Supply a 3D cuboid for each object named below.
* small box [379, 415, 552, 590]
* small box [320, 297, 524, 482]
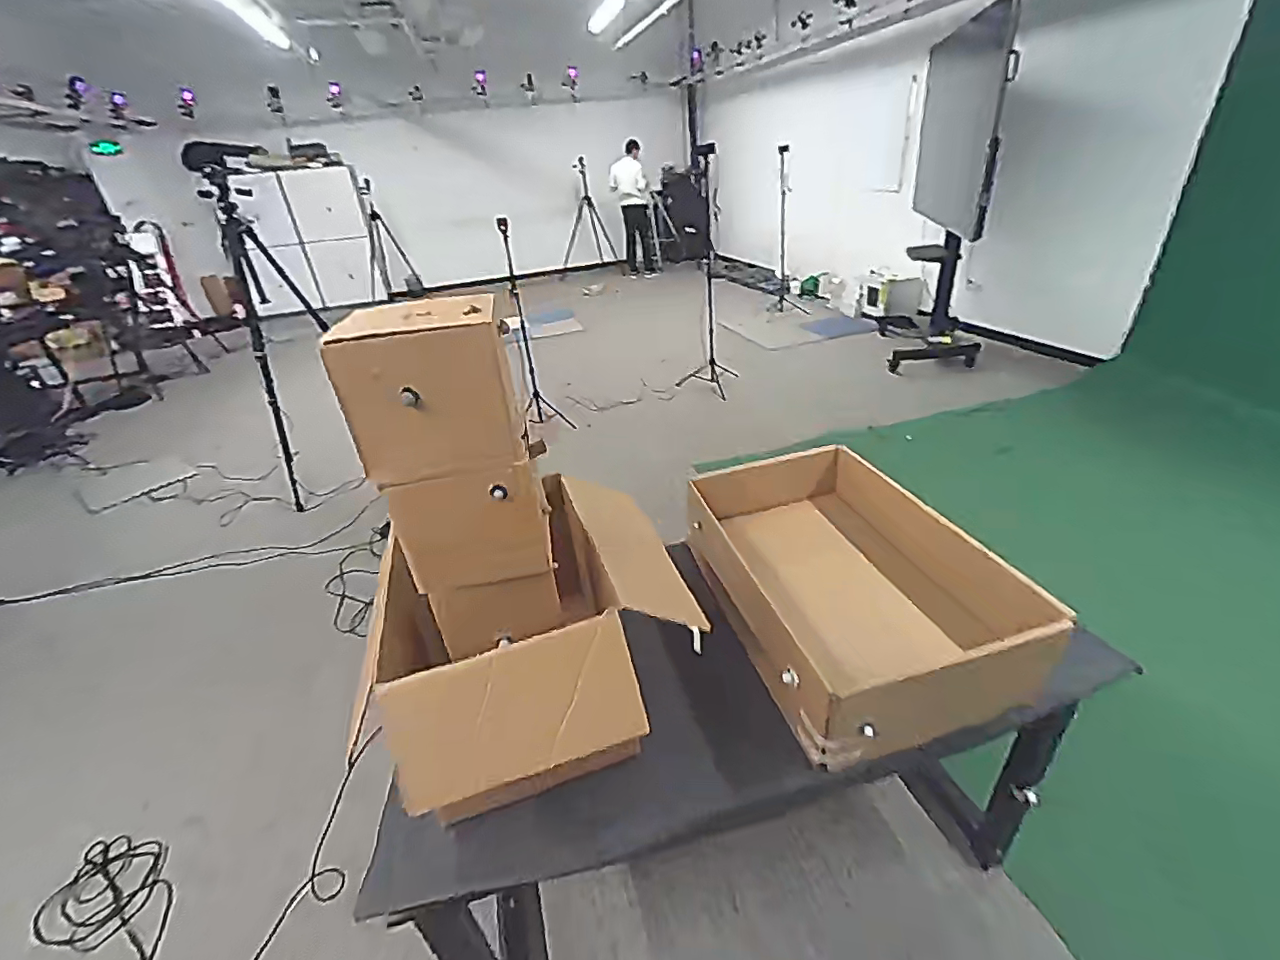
[{"bbox_3d":[-0.223,0.030,0.738,0.179,0.176,0.168,-9,31,-7],"label":"small box"},{"bbox_3d":[-0.246,-0.112,0.658,0.179,0.176,0.168,-10,31,-8],"label":"small box"}]
